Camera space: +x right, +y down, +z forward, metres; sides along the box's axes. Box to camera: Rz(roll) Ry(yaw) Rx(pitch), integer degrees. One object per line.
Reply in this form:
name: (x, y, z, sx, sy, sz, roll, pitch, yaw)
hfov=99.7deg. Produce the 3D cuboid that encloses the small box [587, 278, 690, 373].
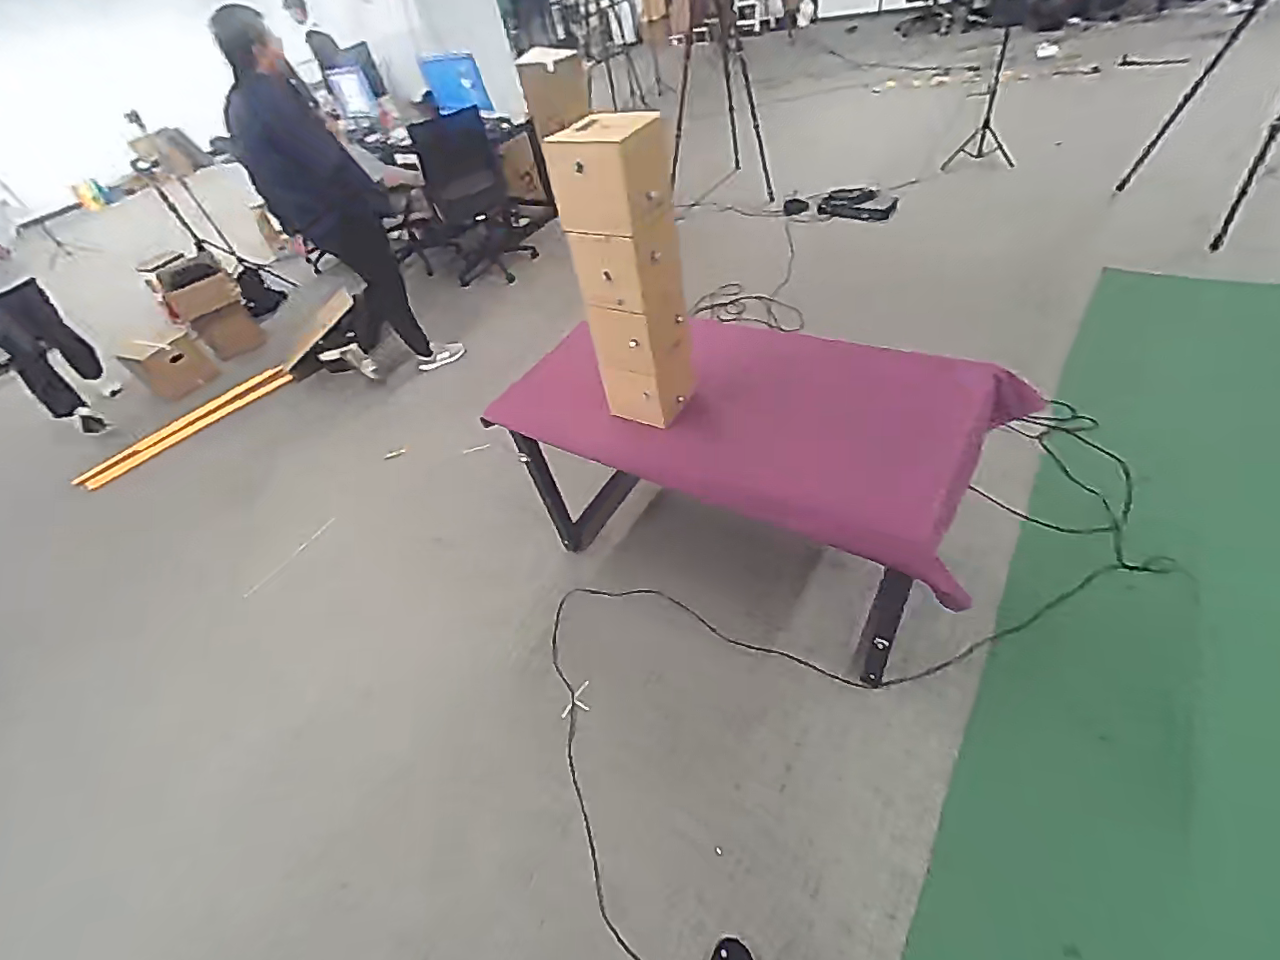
small box: (0.005, -0.379, 1.302, 0.179, 0.176, 0.168, 19, 54, 29)

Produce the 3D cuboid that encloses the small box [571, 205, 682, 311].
small box: (-0.020, -0.495, 1.189, 0.168, 0.176, 0.179, 19, 54, 28)

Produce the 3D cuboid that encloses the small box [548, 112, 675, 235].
small box: (-0.049, -0.604, 1.070, 0.179, 0.176, 0.168, 19, 53, 27)
